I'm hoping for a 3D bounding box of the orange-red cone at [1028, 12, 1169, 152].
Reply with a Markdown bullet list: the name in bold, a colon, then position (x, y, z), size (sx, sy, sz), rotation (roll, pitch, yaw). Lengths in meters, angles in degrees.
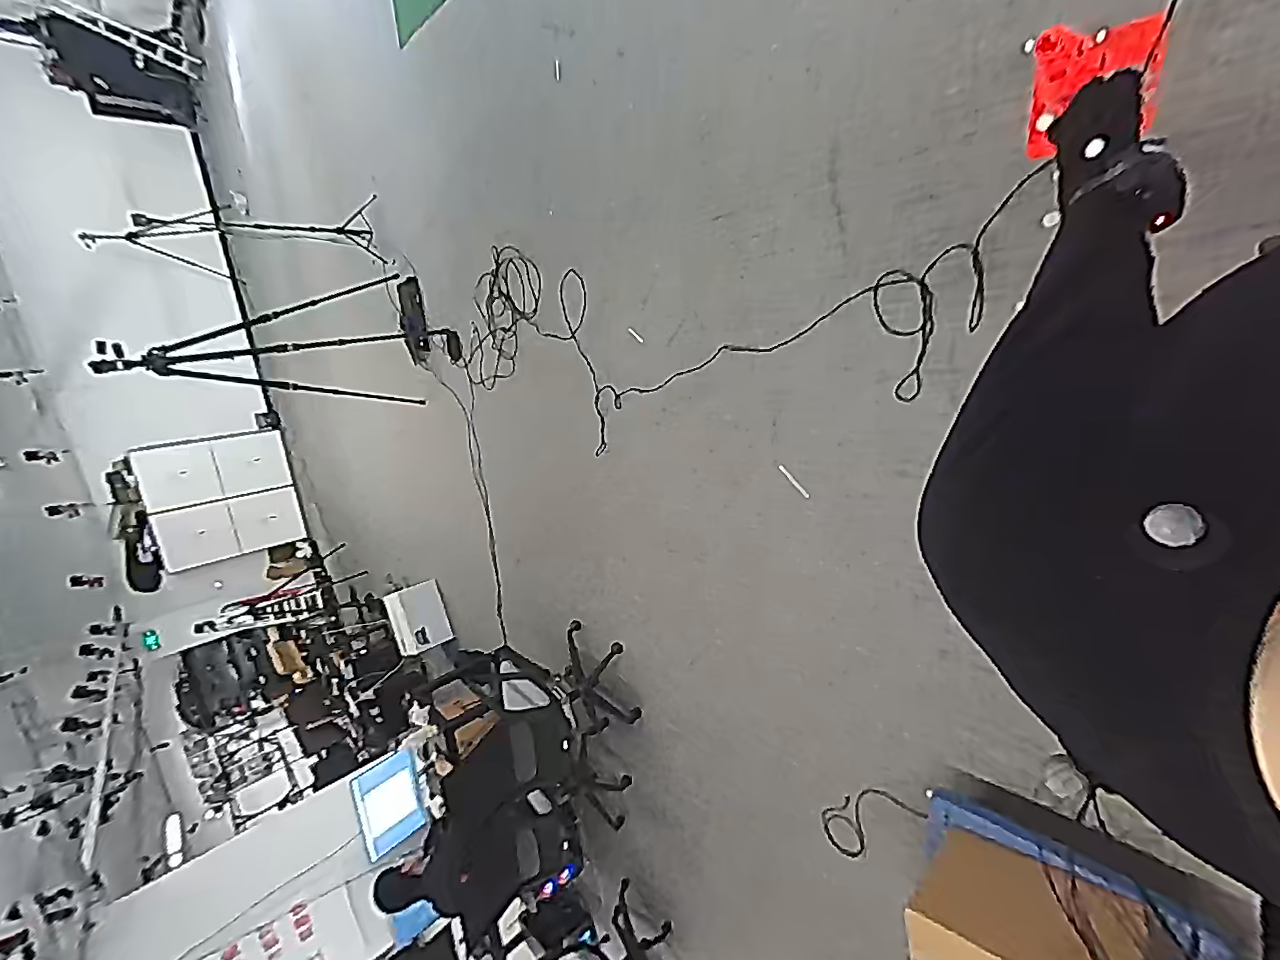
- **orange-red cone**: position (0.772, -0.735, 0.955), size (0.198, 0.360, 0.199), rotation (14, 113, 44)
